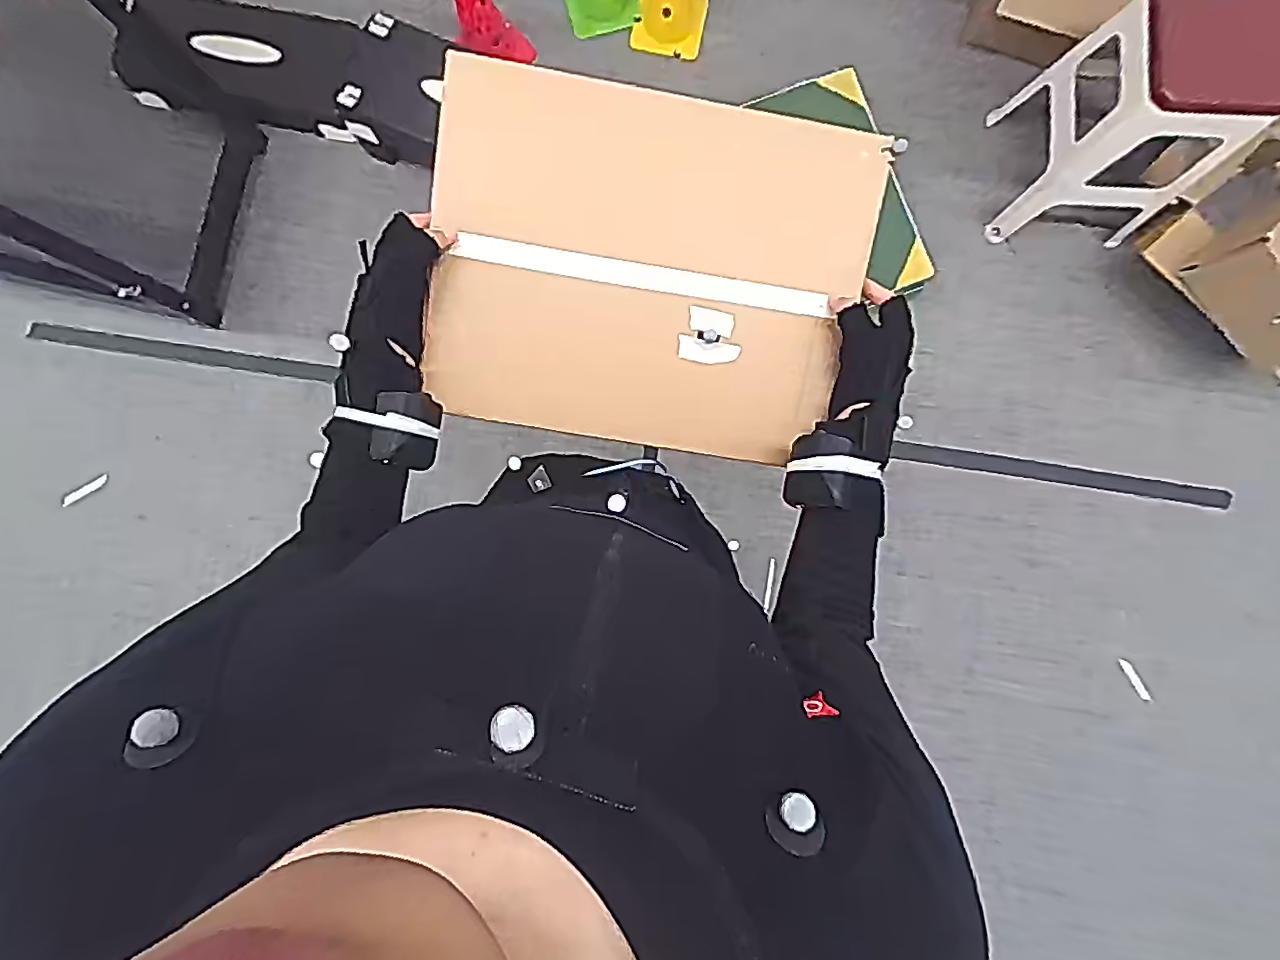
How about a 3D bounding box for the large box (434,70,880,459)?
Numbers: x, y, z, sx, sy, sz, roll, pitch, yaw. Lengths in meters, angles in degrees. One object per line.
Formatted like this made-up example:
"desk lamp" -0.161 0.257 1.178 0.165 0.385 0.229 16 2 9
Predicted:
"large box" 0.003 -0.221 0.668 0.408 0.320 0.320 8 101 -4
